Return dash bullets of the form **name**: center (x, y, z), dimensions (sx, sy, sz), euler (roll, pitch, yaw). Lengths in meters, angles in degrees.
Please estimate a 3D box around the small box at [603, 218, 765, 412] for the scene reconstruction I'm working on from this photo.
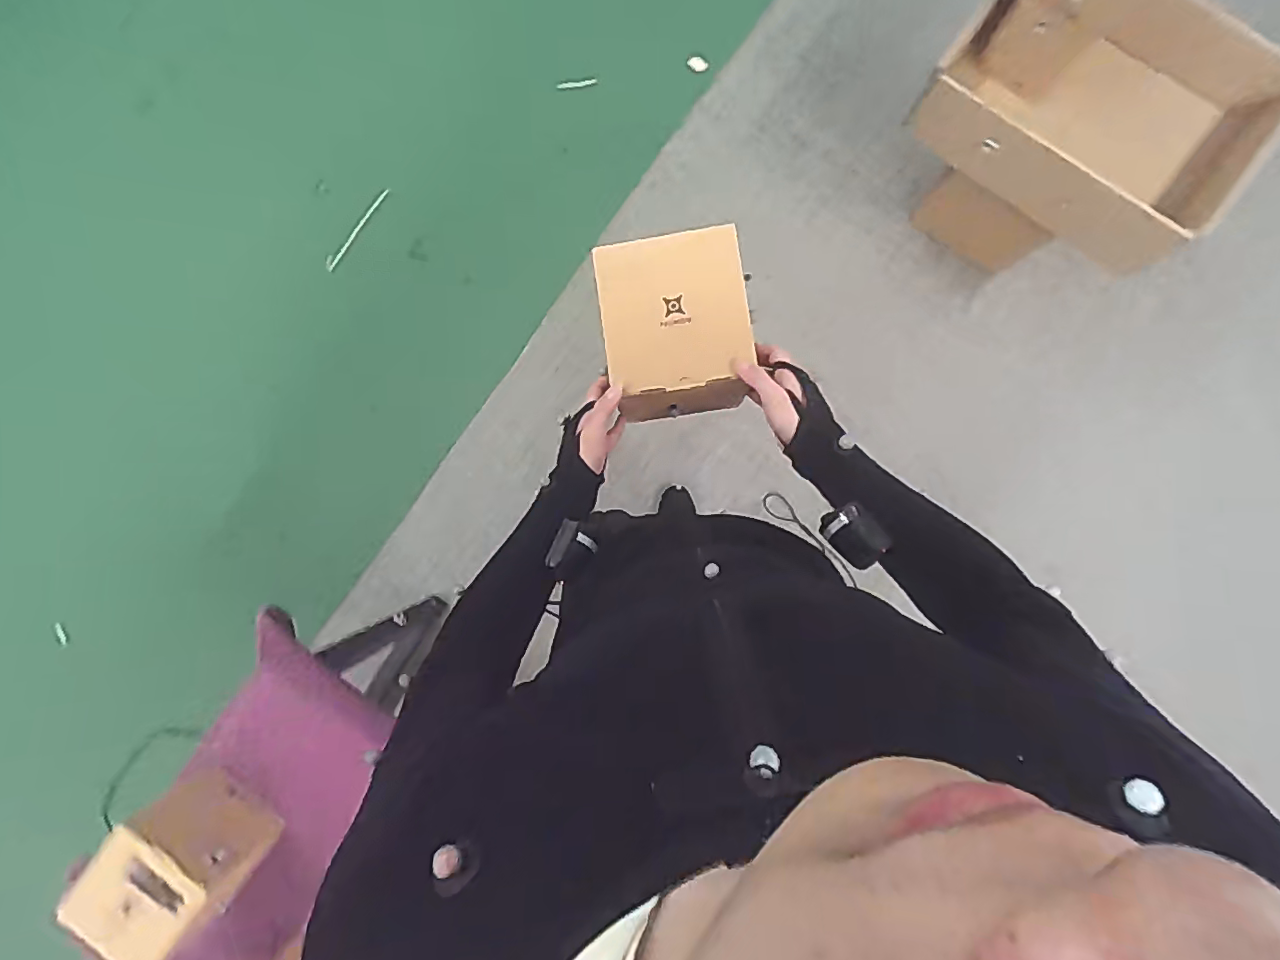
- **small box**: center (0.049, -0.192, 0.676), dimensions (0.168, 0.176, 0.179), euler (-7, 88, 2)

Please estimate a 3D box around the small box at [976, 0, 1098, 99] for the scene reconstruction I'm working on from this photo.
- **small box**: center (0.848, -0.957, 1.121), dimensions (0.168, 0.176, 0.179), euler (37, 90, 3)

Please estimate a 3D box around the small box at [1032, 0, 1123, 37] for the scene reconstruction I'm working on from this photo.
- **small box**: center (0.841, -0.960, 0.957), dimensions (0.168, 0.176, 0.179), euler (39, 91, 4)

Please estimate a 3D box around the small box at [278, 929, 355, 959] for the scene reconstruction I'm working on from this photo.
- **small box**: center (-0.554, 0.876, 0.842), dimensions (0.168, 0.176, 0.179), euler (33, 90, 1)
